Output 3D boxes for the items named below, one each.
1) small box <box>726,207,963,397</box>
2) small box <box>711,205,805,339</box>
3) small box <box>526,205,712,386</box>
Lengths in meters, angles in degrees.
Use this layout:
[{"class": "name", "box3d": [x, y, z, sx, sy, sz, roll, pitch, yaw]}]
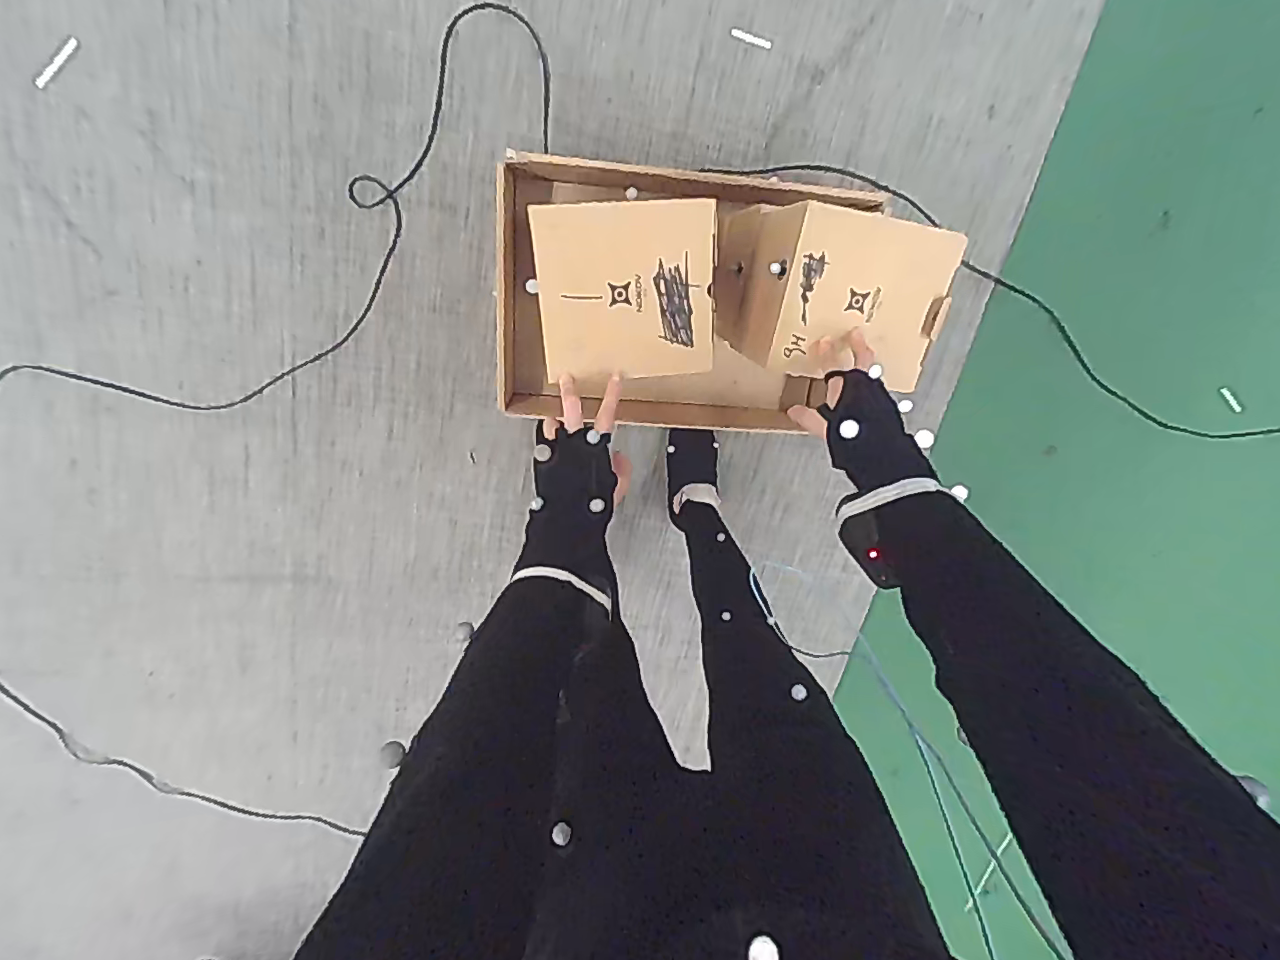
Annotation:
[{"class": "small box", "box3d": [0.218, -0.206, 0.629, 0.179, 0.176, 0.168, 7, 110, -9]}, {"class": "small box", "box3d": [0.207, -0.279, 0.776, 0.168, 0.176, 0.179, 5, 111, -7]}, {"class": "small box", "box3d": [-0.026, -0.208, 0.600, 0.179, 0.176, 0.168, -5, 113, -5]}]
